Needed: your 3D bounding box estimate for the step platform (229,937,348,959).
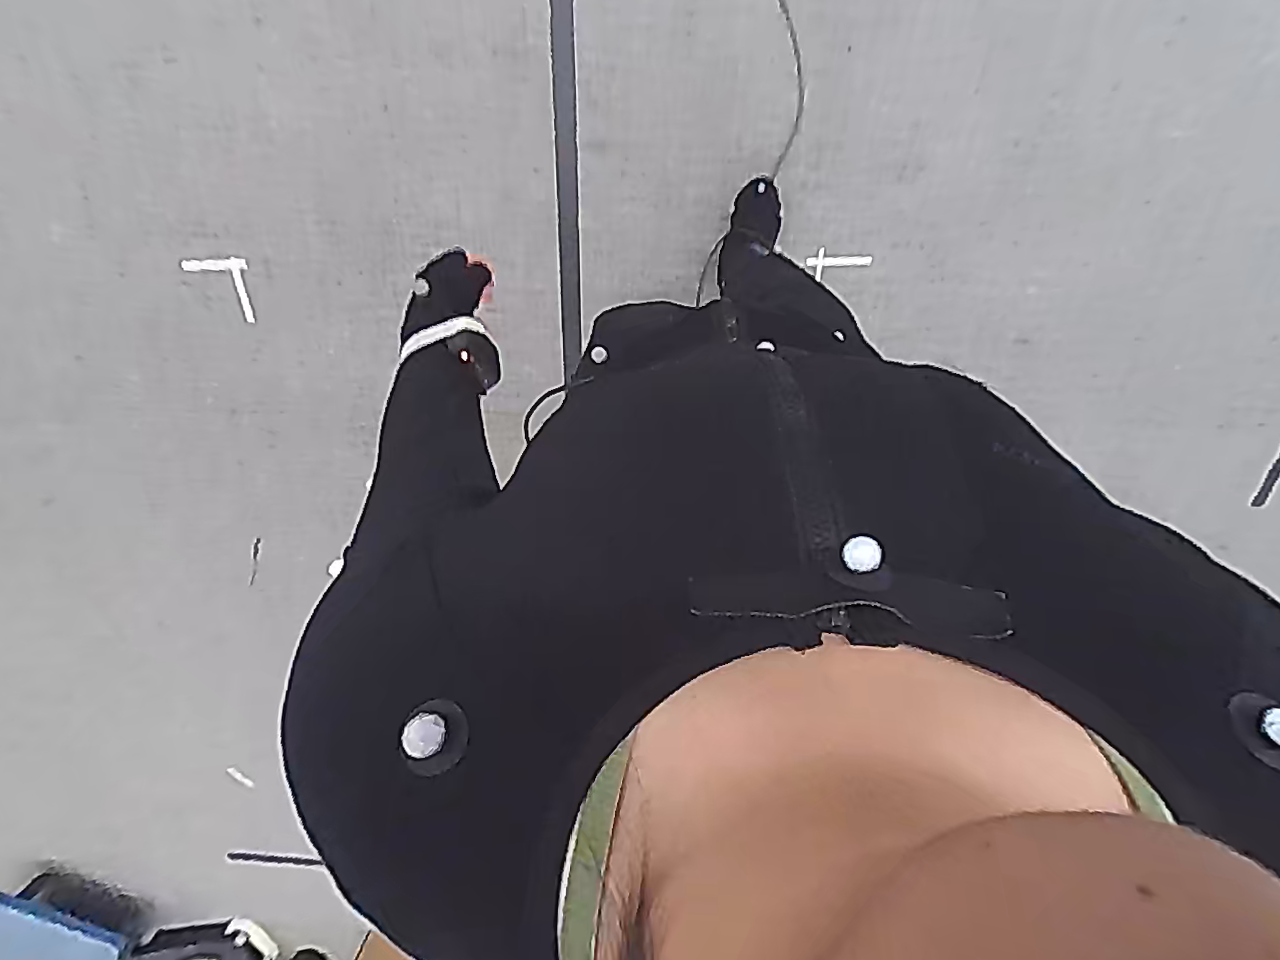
[{"bbox_3d":[-1.814,2.520,2.690,0.684,0.204,0.286,-25,110,13],"label":"step platform"}]
